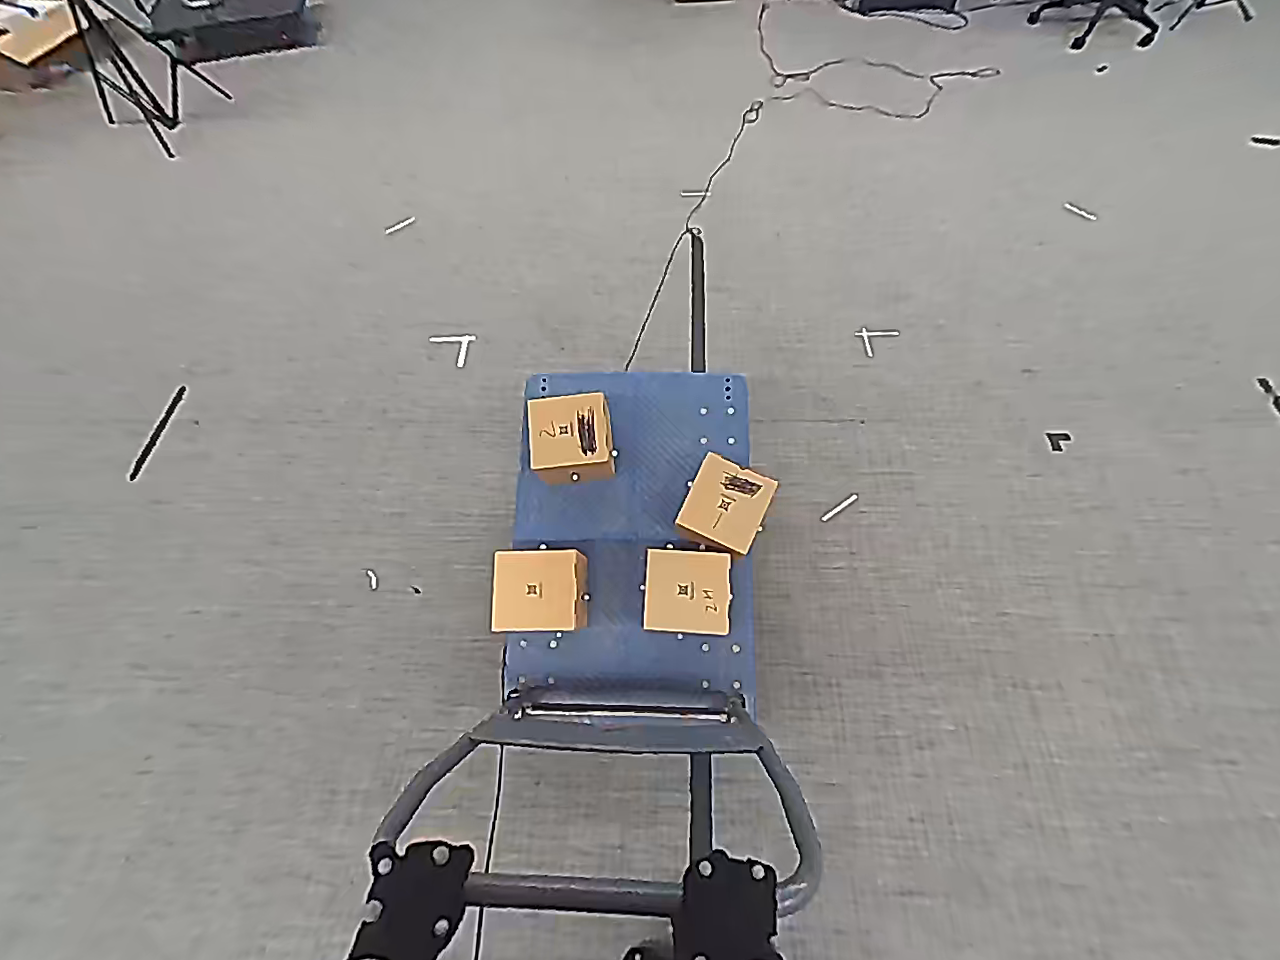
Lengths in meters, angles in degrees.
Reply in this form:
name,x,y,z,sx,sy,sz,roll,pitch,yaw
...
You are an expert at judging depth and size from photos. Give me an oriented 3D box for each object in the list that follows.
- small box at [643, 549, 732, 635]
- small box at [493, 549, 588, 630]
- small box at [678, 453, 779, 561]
name,x,y,z,sx,sy,sz,roll,pitch,yaw
small box,0.103,0.248,1.184,0.179,0.176,0.168,3,76,4
small box,-0.213,0.248,1.202,0.179,0.176,0.168,-2,75,1
small box,0.192,0.068,1.225,0.168,0.176,0.179,25,79,9
